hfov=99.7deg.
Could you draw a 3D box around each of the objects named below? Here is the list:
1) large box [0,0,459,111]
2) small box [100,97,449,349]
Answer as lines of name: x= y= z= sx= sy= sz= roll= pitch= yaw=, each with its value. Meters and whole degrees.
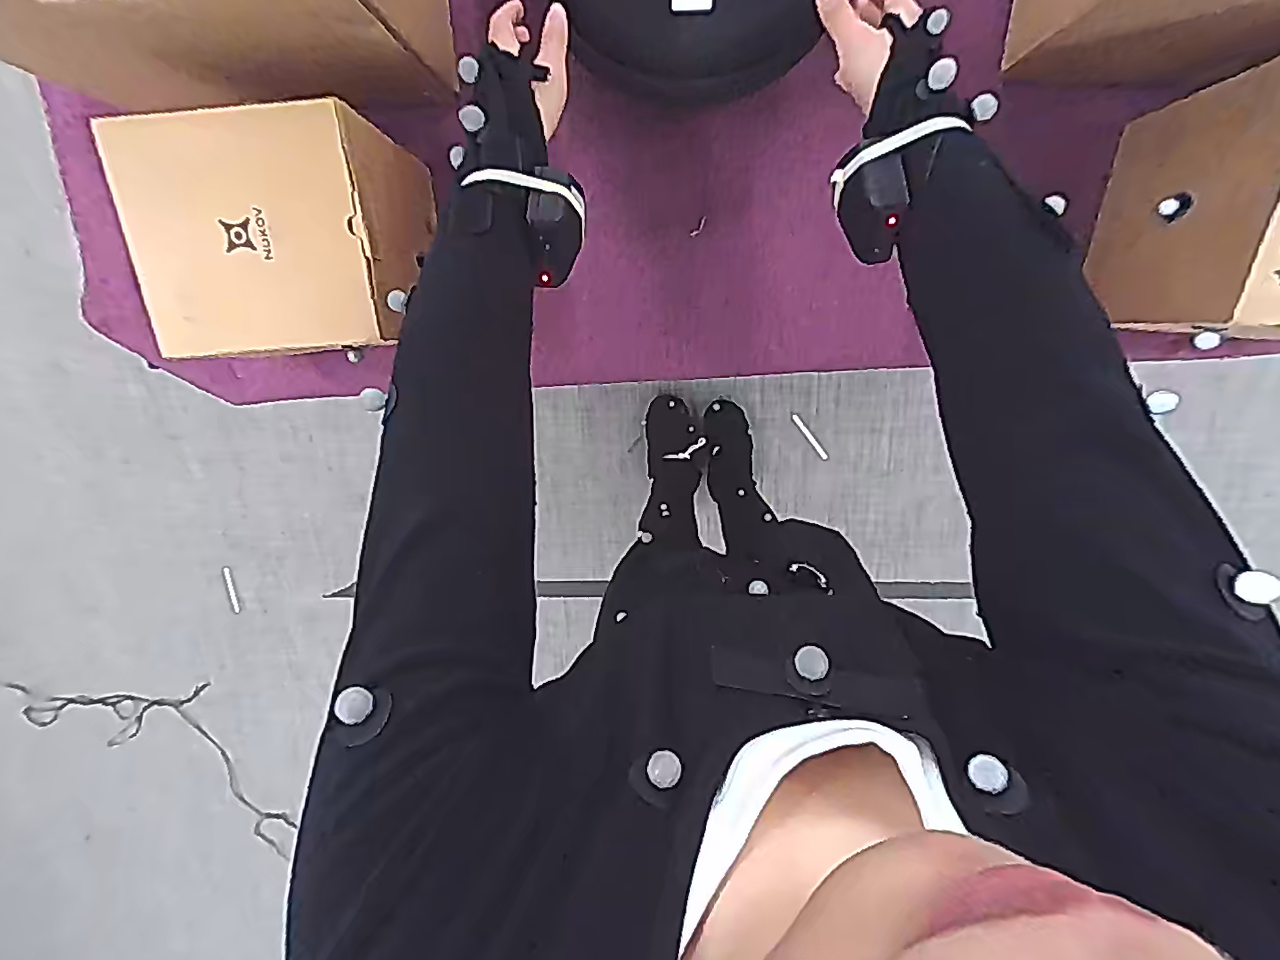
large box: x=-0.335 y=-0.502 z=0.321 sx=0.320 sy=0.320 sz=0.408 roll=-2 pitch=109 yaw=3
small box: x=-0.294 y=-0.206 z=0.480 sx=0.179 sy=0.176 sz=0.168 roll=-5 pitch=105 yaw=1
